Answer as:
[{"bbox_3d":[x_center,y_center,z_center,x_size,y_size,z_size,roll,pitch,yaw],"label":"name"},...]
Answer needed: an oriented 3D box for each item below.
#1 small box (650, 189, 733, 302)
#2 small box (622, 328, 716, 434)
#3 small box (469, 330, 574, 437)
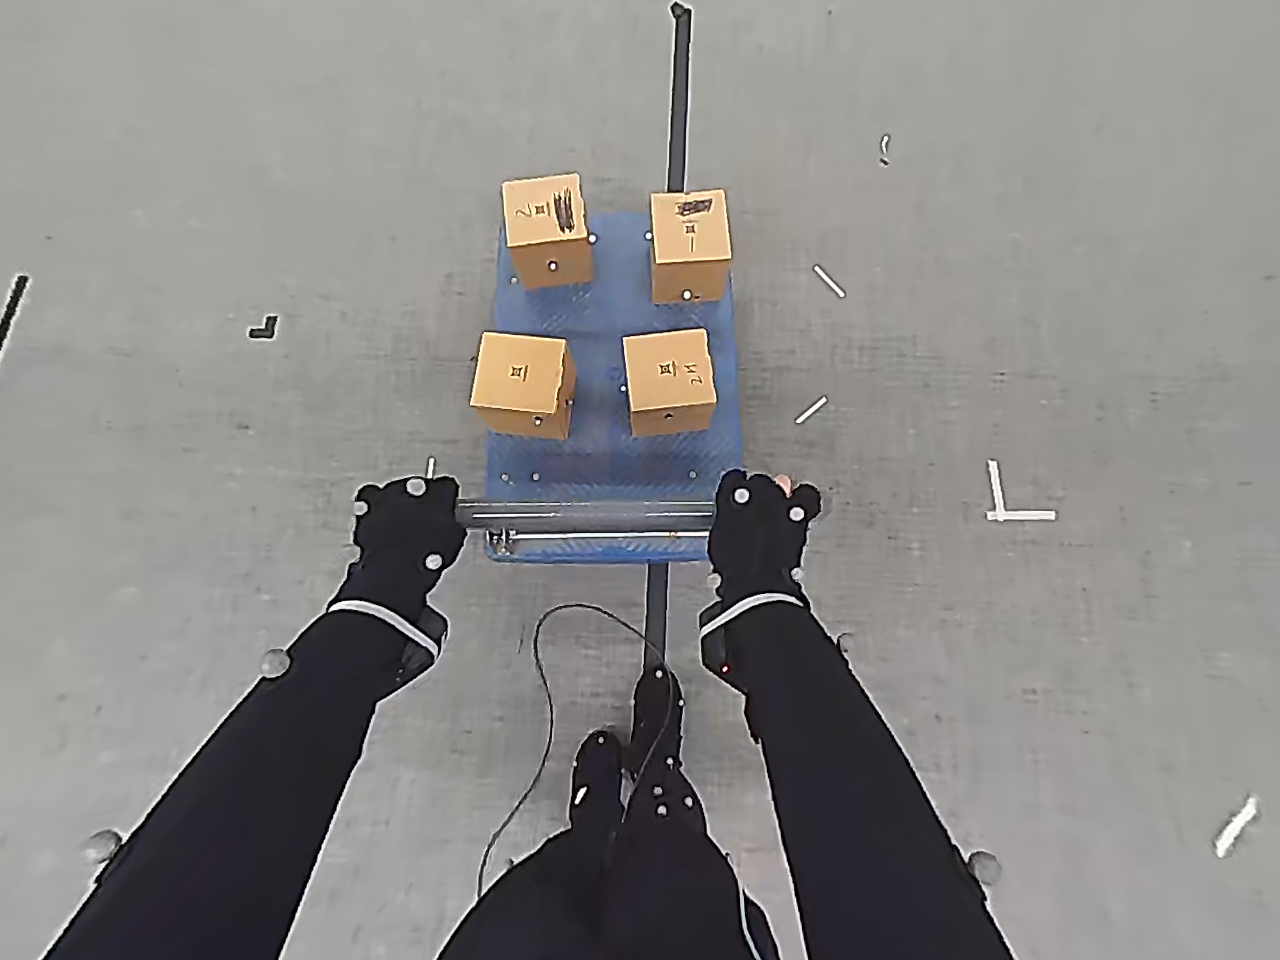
[{"bbox_3d":[0.111,-0.532,1.239,0.168,0.176,0.179,-3,78,0],"label":"small box"},{"bbox_3d":[0.059,-0.205,1.164,0.179,0.176,0.168,-6,77,-1],"label":"small box"},{"bbox_3d":[-0.245,-0.201,1.164,0.179,0.176,0.168,6,77,0],"label":"small box"}]
